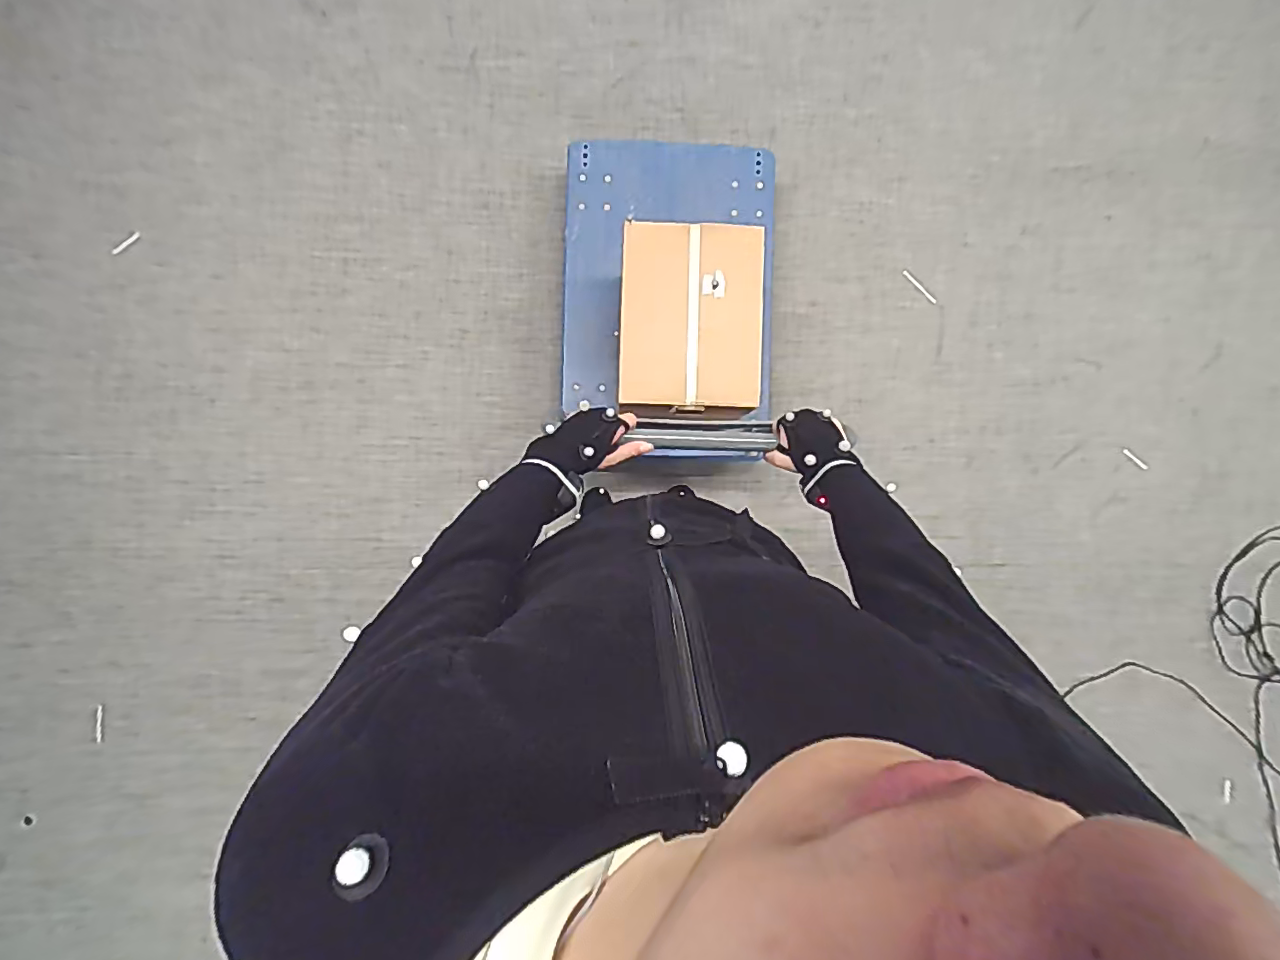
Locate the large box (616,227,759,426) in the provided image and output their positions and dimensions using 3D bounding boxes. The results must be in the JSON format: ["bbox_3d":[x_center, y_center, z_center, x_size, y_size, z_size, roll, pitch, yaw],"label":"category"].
[{"bbox_3d":[0.102,-0.352,1.336,0.320,0.320,0.408,1,87,-3],"label":"large box"}]
